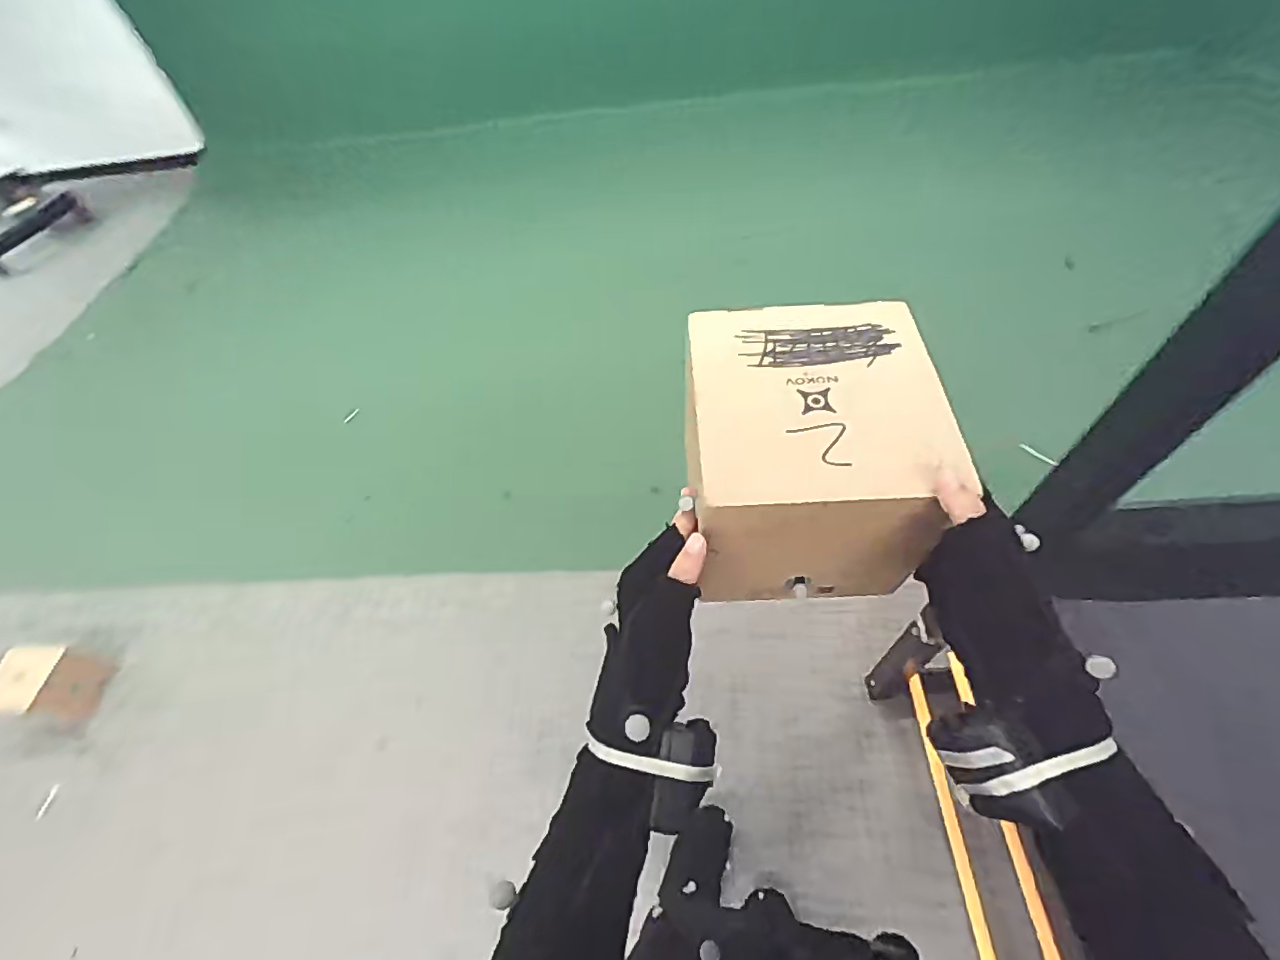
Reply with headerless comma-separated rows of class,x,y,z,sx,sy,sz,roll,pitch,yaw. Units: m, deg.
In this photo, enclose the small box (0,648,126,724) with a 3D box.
small box,-1.623,0.578,1.515,0.179,0.176,0.168,-2,54,6
